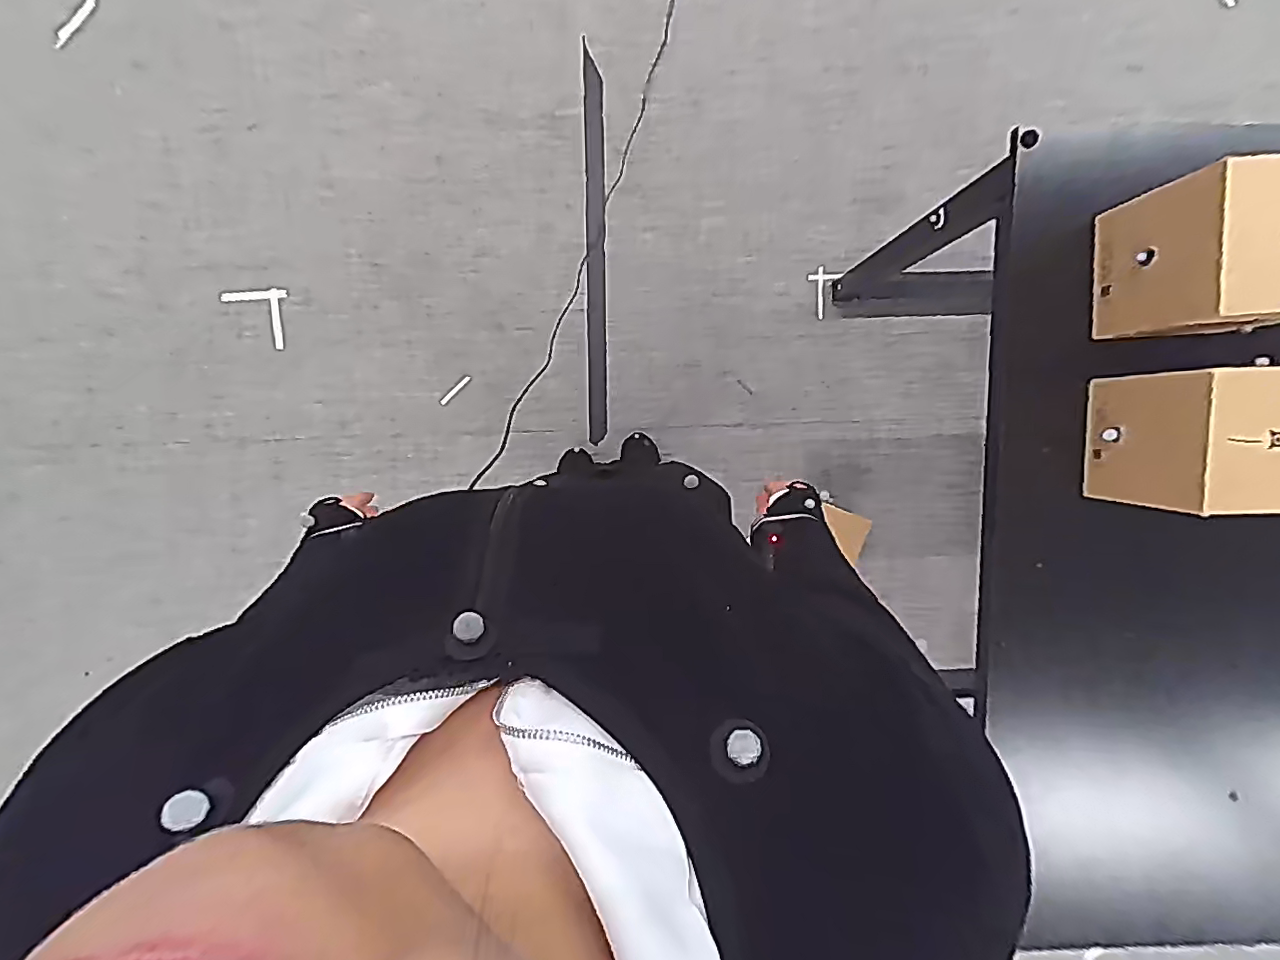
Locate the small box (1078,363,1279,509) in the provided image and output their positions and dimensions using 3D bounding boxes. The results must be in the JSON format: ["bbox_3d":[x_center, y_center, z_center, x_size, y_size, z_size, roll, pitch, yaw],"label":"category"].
[{"bbox_3d":[0.712,-0.058,0.684,0.179,0.176,0.168,-1,96,0],"label":"small box"}]

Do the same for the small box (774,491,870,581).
[{"bbox_3d":[0.471,0.140,1.436,0.168,0.176,0.179,20,94,-3],"label":"small box"}]
